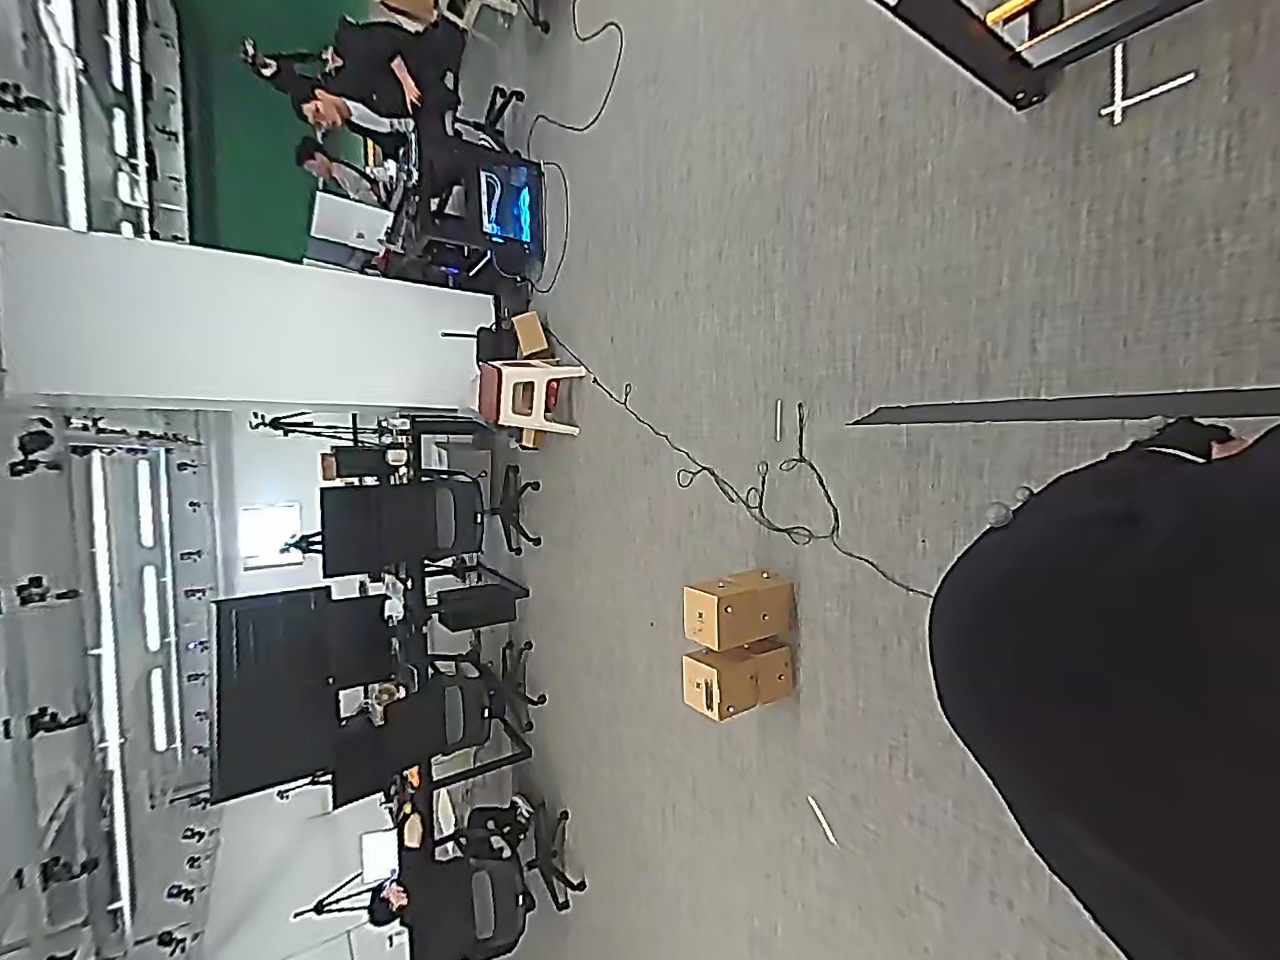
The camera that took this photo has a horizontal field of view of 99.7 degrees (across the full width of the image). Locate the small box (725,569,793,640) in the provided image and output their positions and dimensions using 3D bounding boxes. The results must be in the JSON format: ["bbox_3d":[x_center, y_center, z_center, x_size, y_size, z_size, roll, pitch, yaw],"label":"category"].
[{"bbox_3d":[0.401,0.418,1.842,0.168,0.176,0.179,15,105,55],"label":"small box"}]

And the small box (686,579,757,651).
[{"bbox_3d":[0.265,0.429,1.750,0.168,0.176,0.179,4,98,57],"label":"small box"}]

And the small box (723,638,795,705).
[{"bbox_3d":[0.408,0.651,1.861,0.179,0.176,0.168,-7,87,56],"label":"small box"}]
